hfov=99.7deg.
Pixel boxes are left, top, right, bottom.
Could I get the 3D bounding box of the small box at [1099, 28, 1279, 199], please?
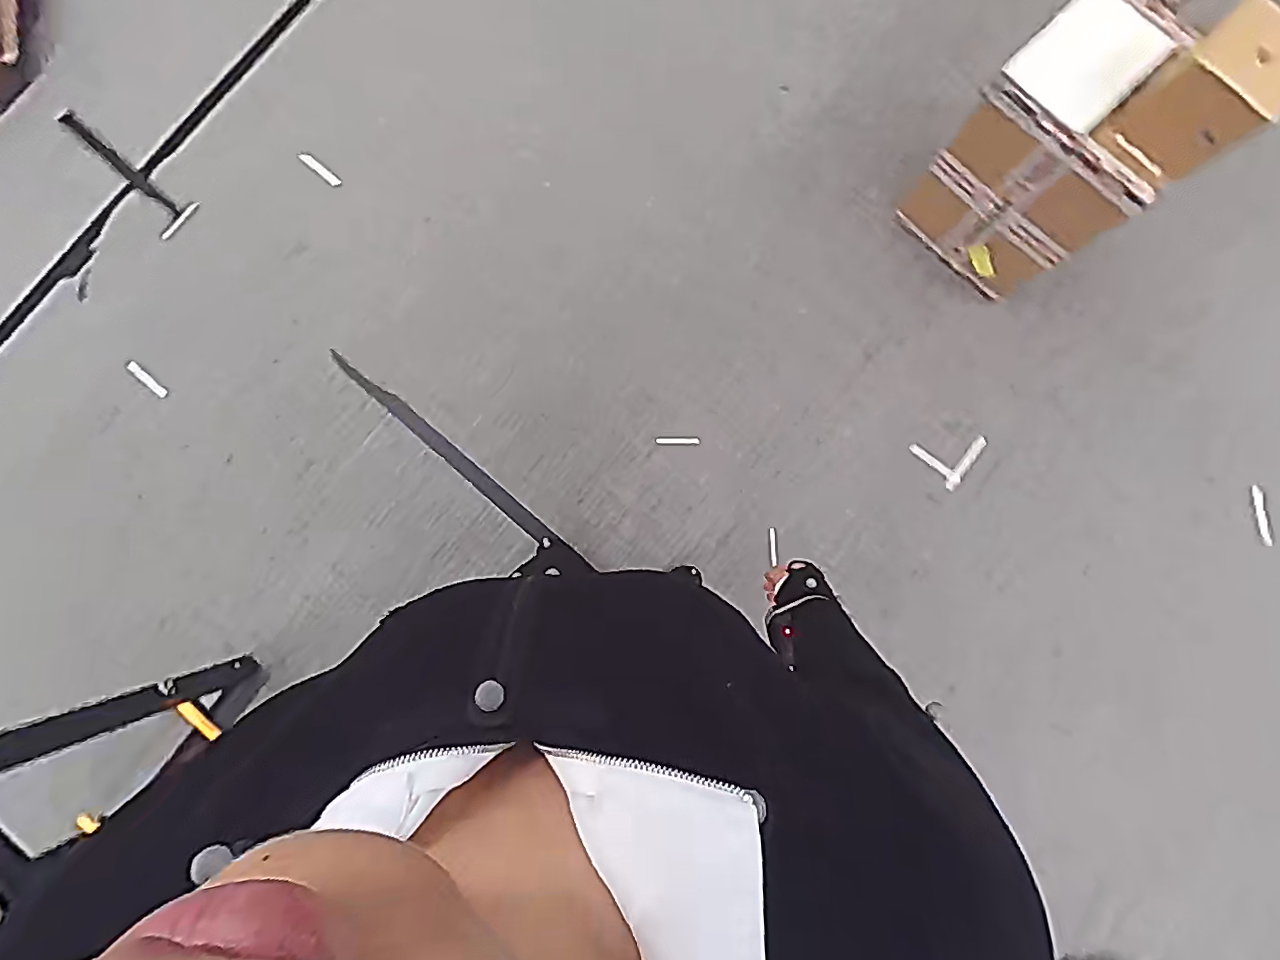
[{"bbox_3d":[1.038,-0.667,1.013,0.179,0.176,0.168,43,88,3],"label":"small box"}]
